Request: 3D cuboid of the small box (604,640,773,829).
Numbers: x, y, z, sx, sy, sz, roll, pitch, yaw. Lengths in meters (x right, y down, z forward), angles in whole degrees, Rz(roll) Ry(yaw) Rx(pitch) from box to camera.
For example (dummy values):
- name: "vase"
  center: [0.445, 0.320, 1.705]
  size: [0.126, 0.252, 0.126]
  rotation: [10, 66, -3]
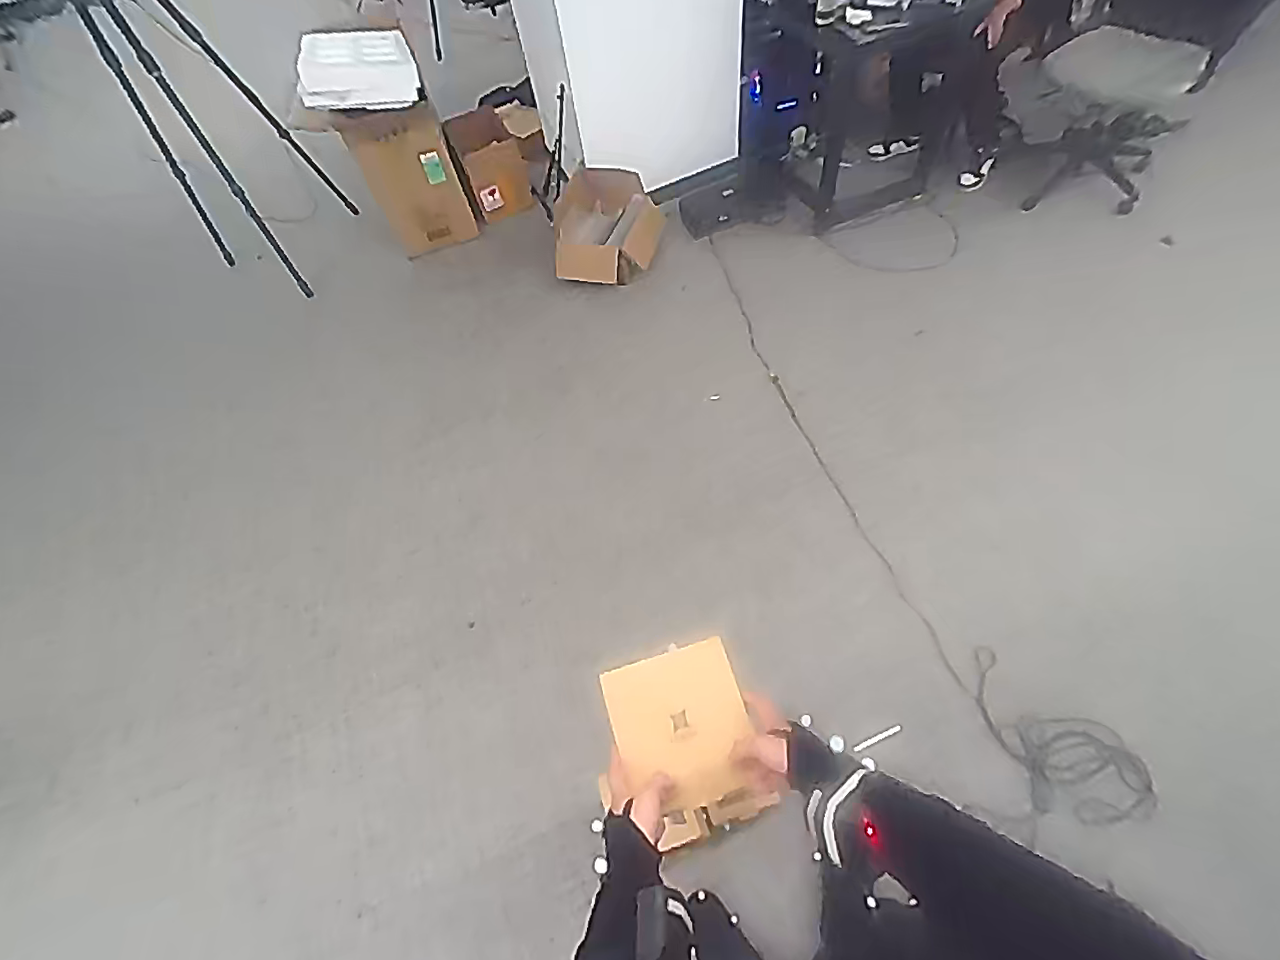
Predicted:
- name: "small box"
  center: [0.056, 0.335, 0.729]
  size: [0.168, 0.176, 0.179]
  rotation: [-17, 68, -5]

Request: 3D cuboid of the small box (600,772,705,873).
- name: "small box"
  center: [0.031, 0.705, 1.149]
  size: [0.179, 0.176, 0.168]
  rotation: [-20, 56, -3]
